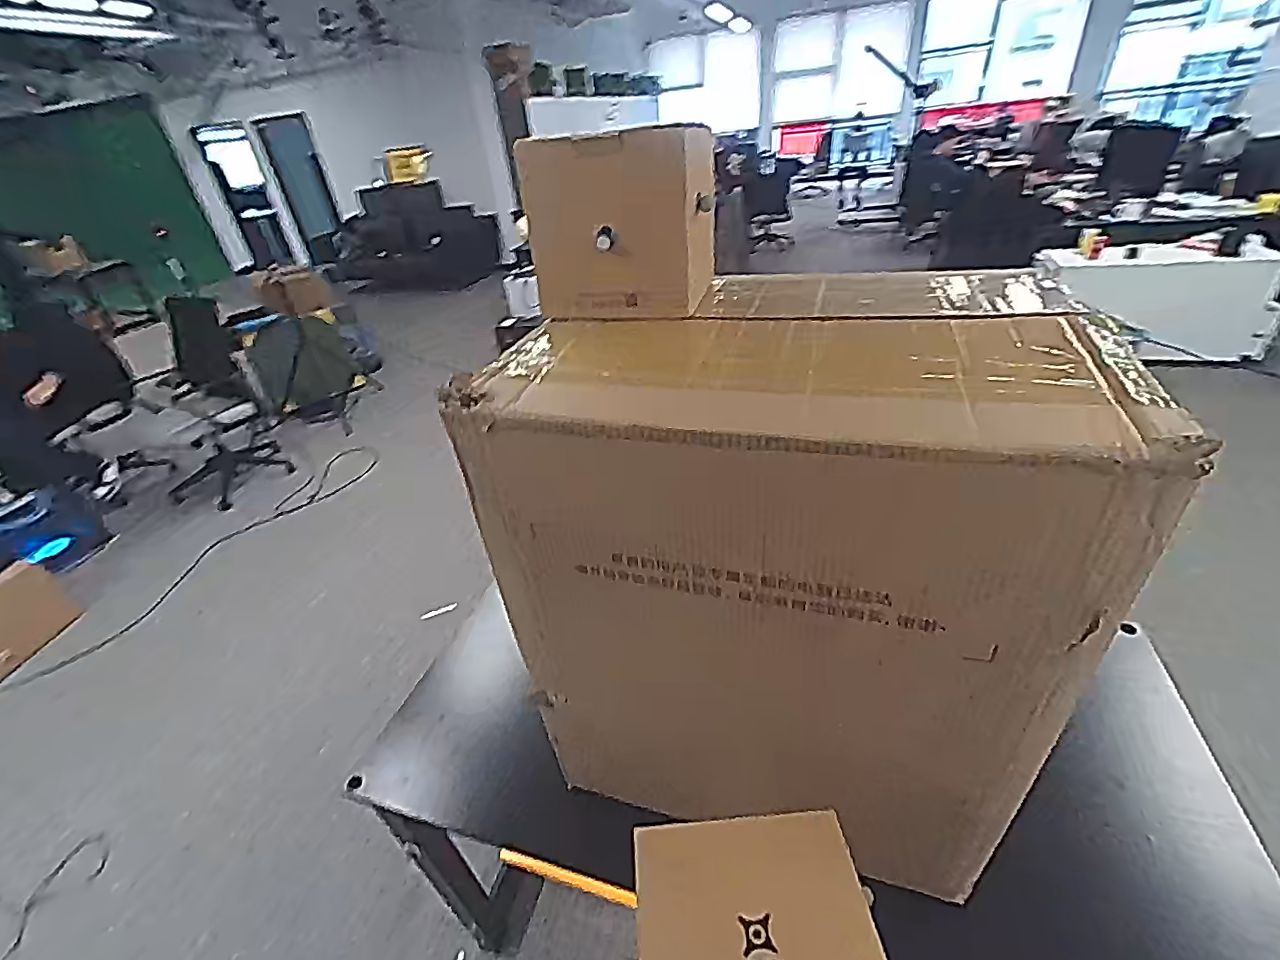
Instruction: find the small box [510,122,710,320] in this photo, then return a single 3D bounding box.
[{"bbox_3d":[-0.015,-0.279,0.589,0.168,0.176,0.179,3,33,14],"label":"small box"}]
